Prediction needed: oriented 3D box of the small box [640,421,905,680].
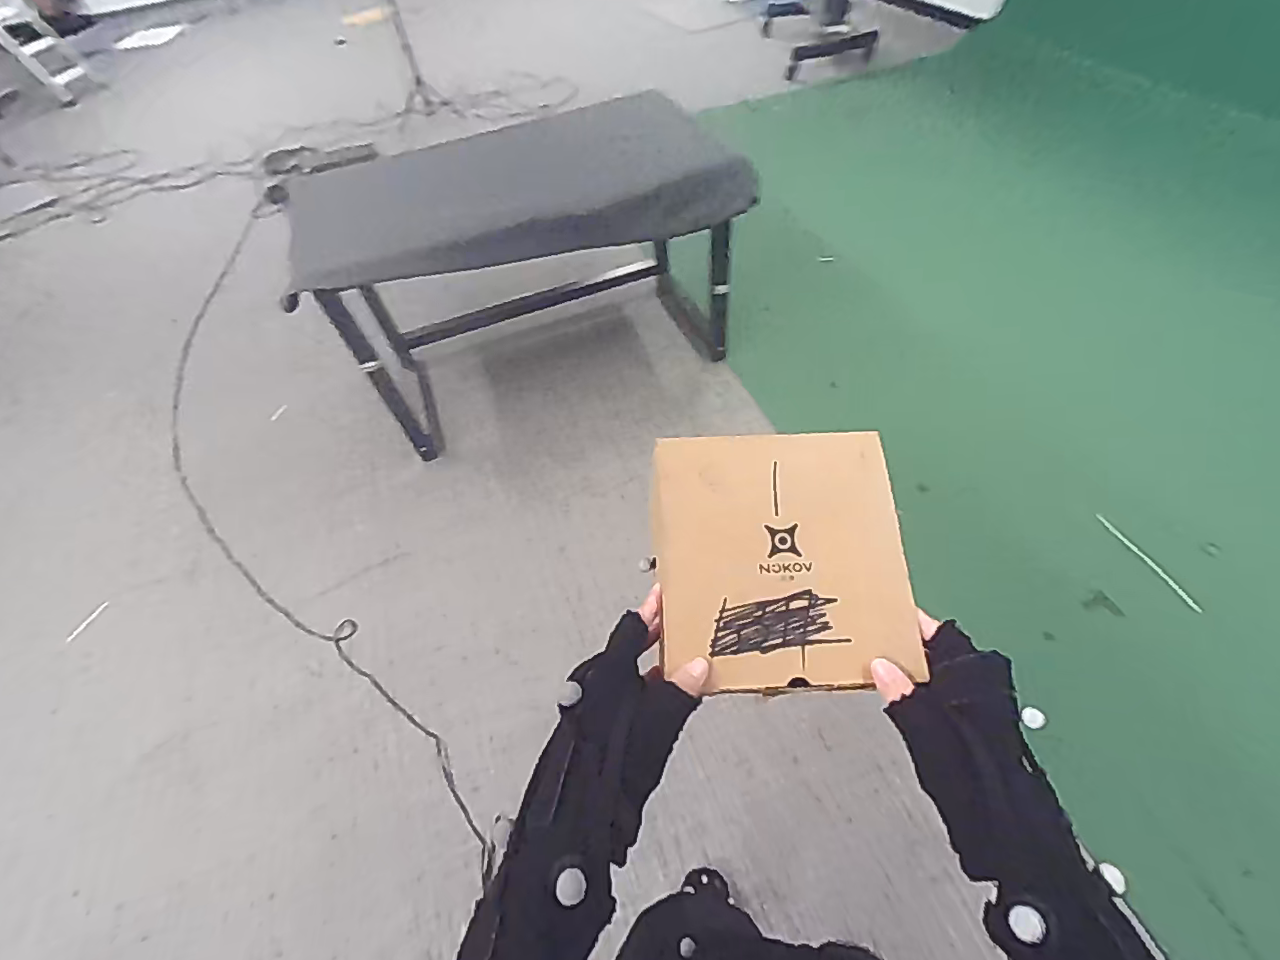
[{"bbox_3d":[0.086,0.067,0.448,0.168,0.176,0.179,-3,70,-2],"label":"small box"}]
